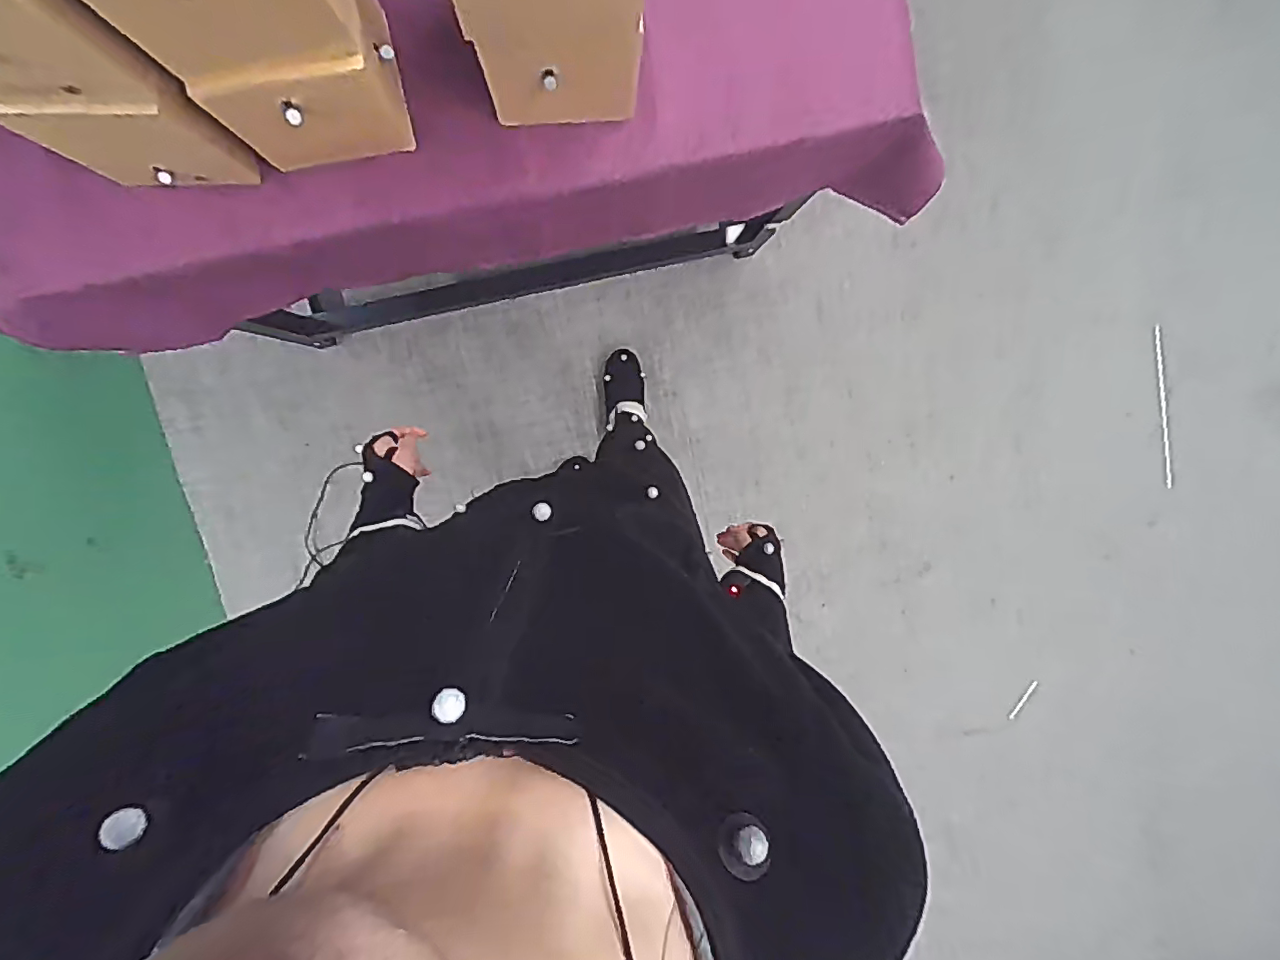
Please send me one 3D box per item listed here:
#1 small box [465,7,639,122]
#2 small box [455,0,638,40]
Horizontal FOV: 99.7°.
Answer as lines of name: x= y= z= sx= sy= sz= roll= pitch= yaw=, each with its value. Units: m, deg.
small box: x=-0.098 y=-0.535 z=0.612 sx=0.179 sy=0.176 sz=0.168 roll=-5 pitch=98 yaw=-4
small box: x=-0.083 y=-0.510 z=0.450 sx=0.179 sy=0.176 sz=0.168 roll=-3 pitch=97 yaw=-6
